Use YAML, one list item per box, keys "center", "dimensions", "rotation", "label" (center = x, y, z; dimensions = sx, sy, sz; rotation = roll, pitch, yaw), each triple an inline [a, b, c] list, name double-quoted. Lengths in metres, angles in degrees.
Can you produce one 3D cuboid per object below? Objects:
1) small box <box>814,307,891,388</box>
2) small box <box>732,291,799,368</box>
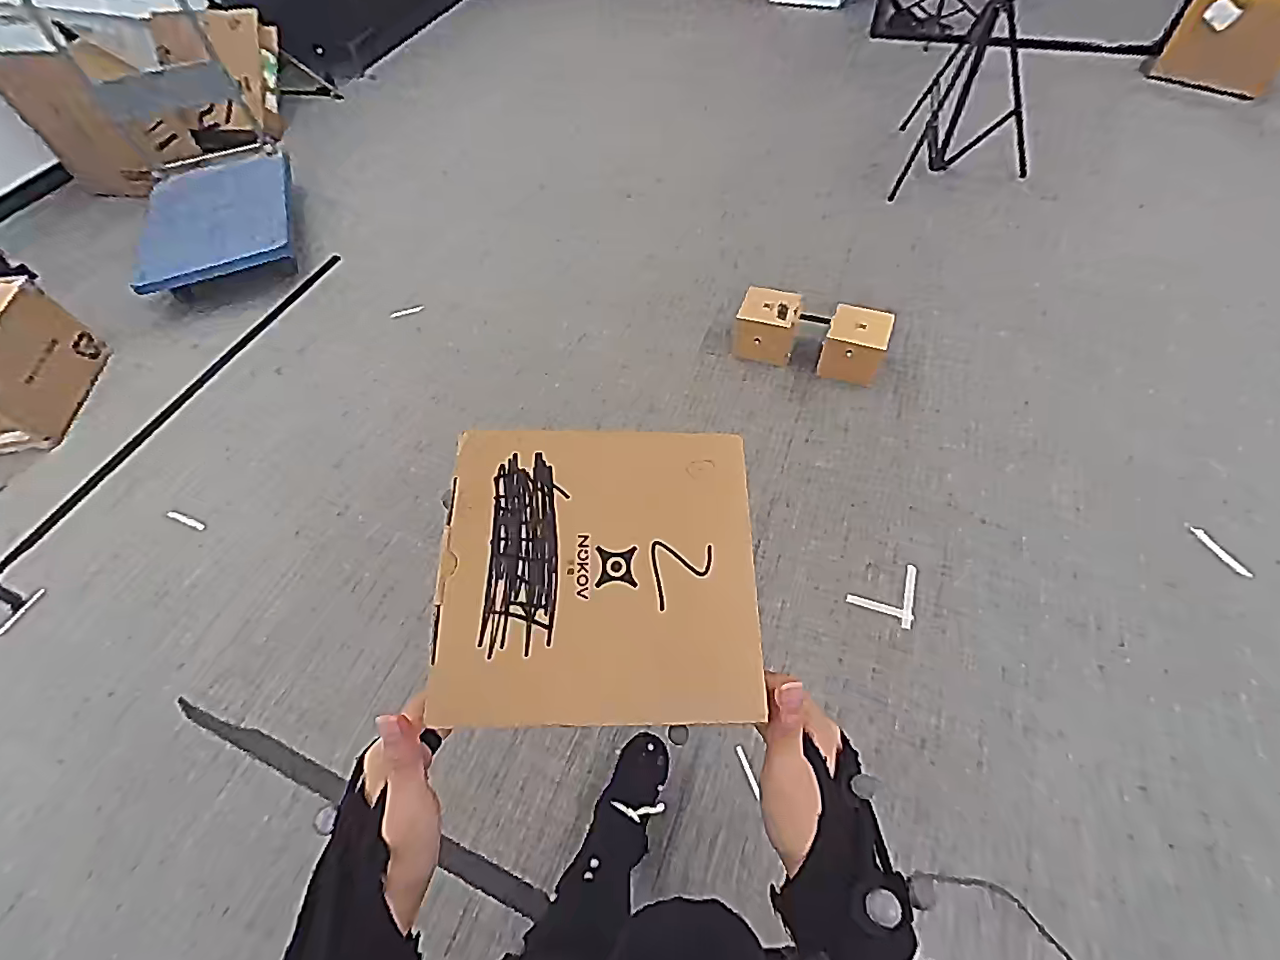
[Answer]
- center: [0.677, -0.419, 1.730]
  dimensions: [0.179, 0.176, 0.168]
  rotation: [17, 61, 16]
  label: "small box"
- center: [0.414, -0.498, 1.803]
  dimensions: [0.179, 0.176, 0.168]
  rotation: [16, 60, 16]
  label: "small box"
